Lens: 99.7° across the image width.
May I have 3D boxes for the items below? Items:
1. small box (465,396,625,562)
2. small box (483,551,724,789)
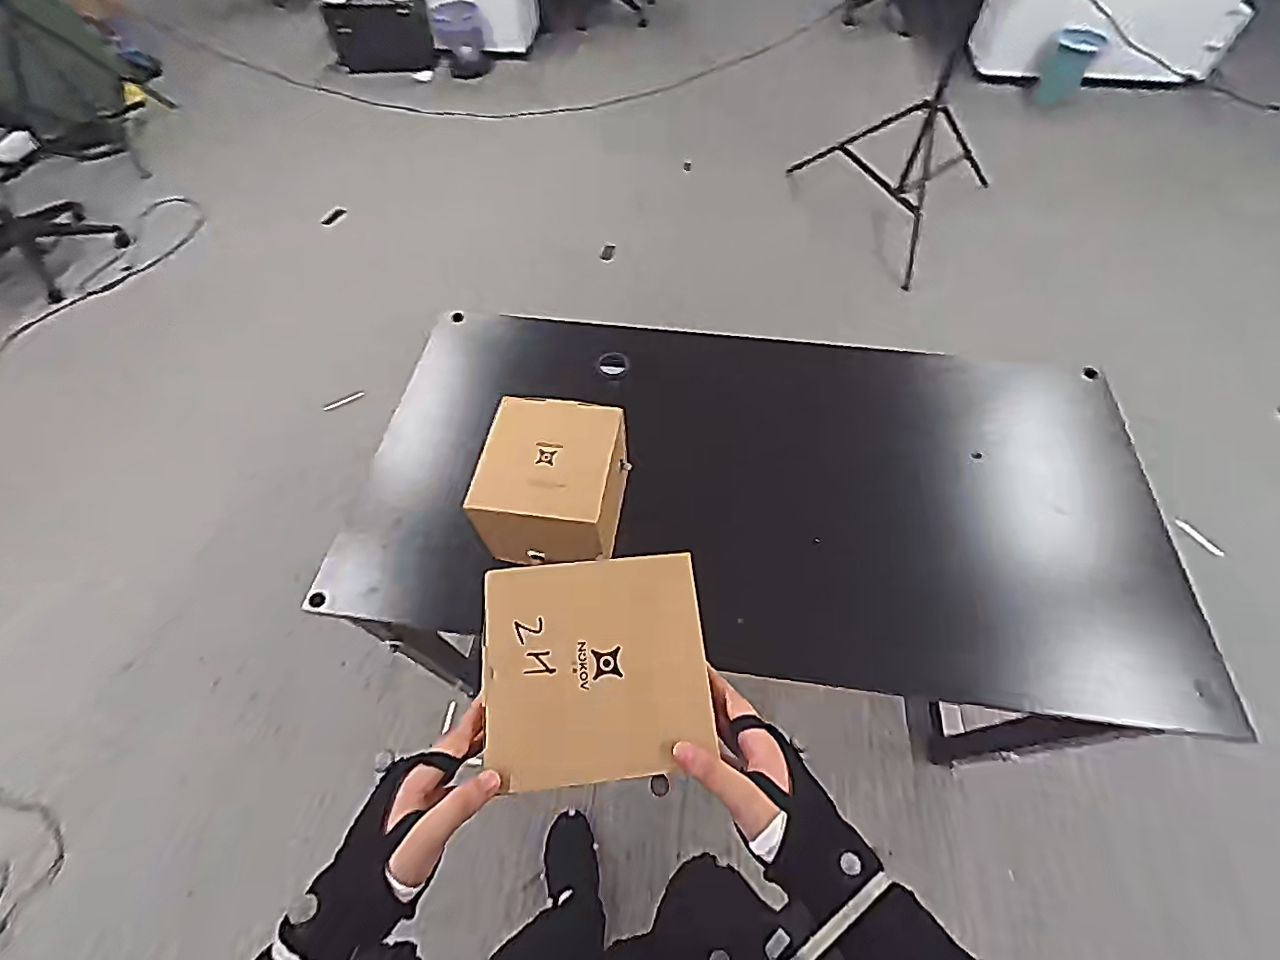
[{"bbox_3d":[-0.114,0.010,0.739,0.168,0.176,0.179,6,59,6],"label":"small box"},{"bbox_3d":[-0.035,0.170,0.490,0.179,0.176,0.168,-4,66,-4],"label":"small box"}]
